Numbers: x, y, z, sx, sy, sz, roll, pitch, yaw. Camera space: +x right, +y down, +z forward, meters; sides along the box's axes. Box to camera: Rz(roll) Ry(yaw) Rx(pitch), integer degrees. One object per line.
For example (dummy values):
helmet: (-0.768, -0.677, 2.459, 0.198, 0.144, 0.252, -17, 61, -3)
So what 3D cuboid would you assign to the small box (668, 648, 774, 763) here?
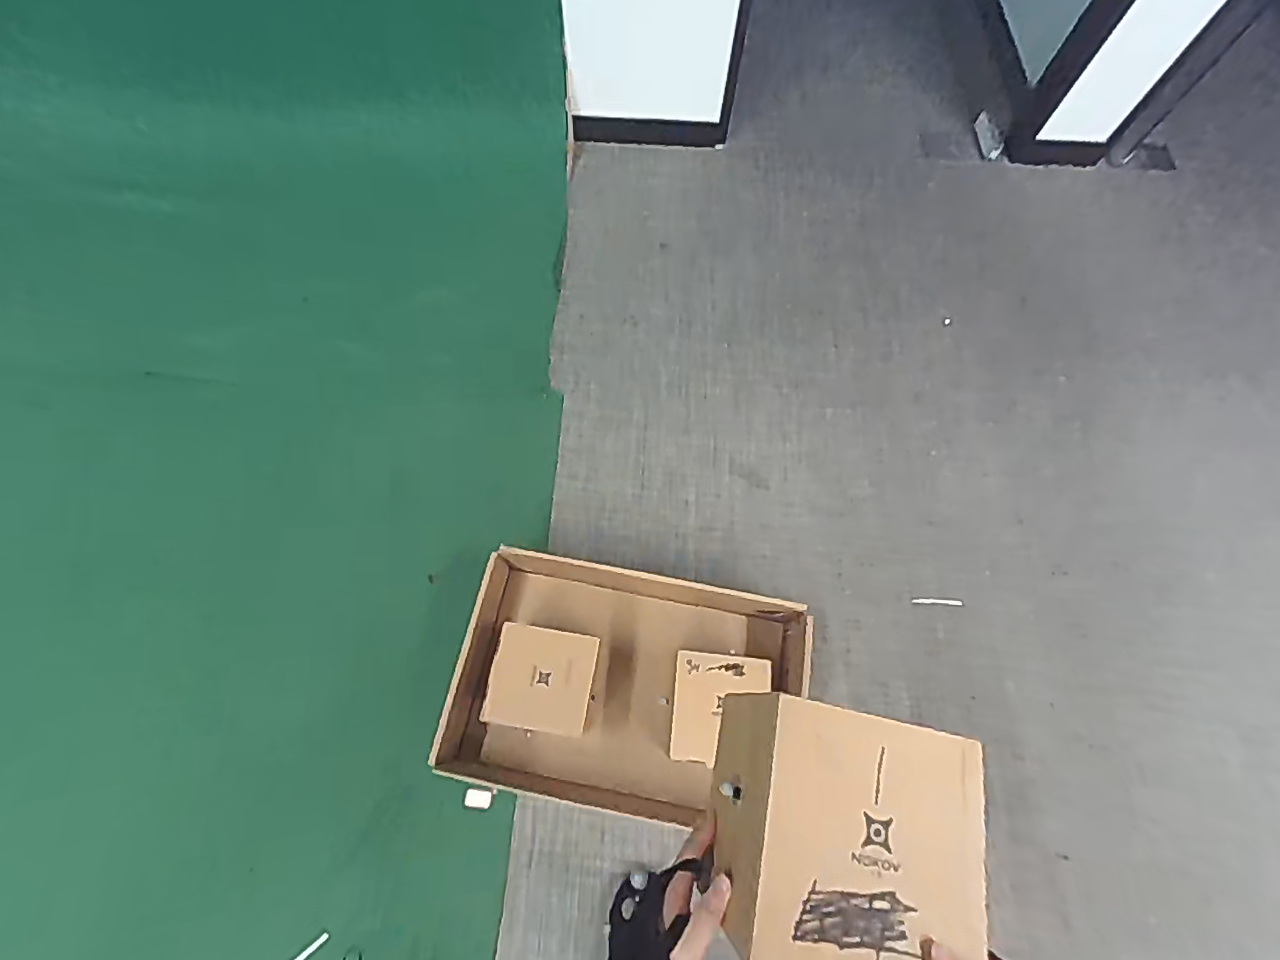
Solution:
small box: (0.142, 0.410, 0.983, 0.168, 0.176, 0.179, 6, 69, 1)

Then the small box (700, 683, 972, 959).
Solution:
small box: (0.155, 0.287, 0.469, 0.168, 0.176, 0.179, 13, 67, 0)
